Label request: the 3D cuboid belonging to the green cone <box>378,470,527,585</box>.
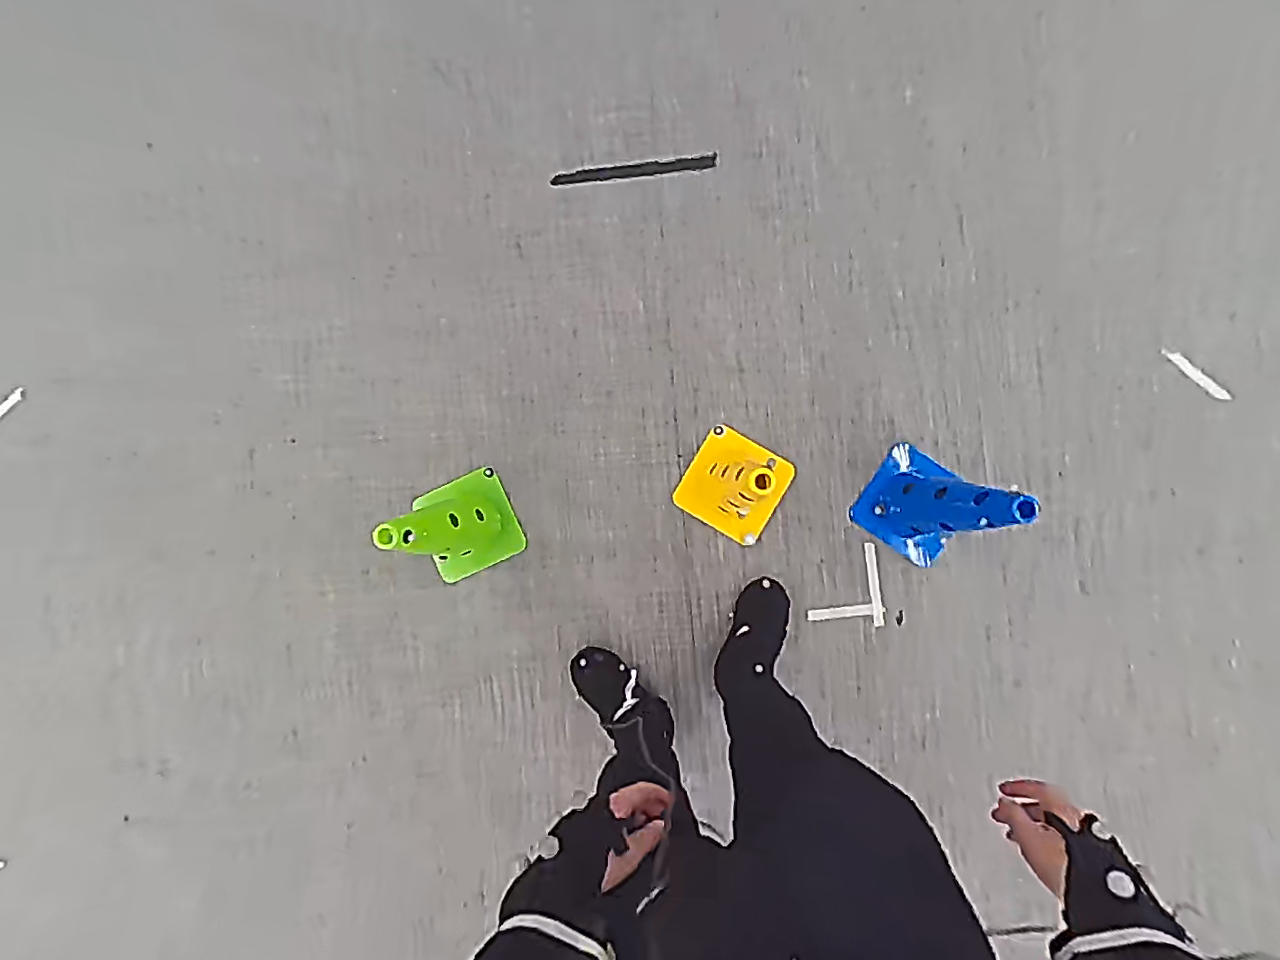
[{"bbox_3d":[-0.375,0.098,0.995,0.200,0.368,0.202,-26,88,2],"label":"green cone"}]
